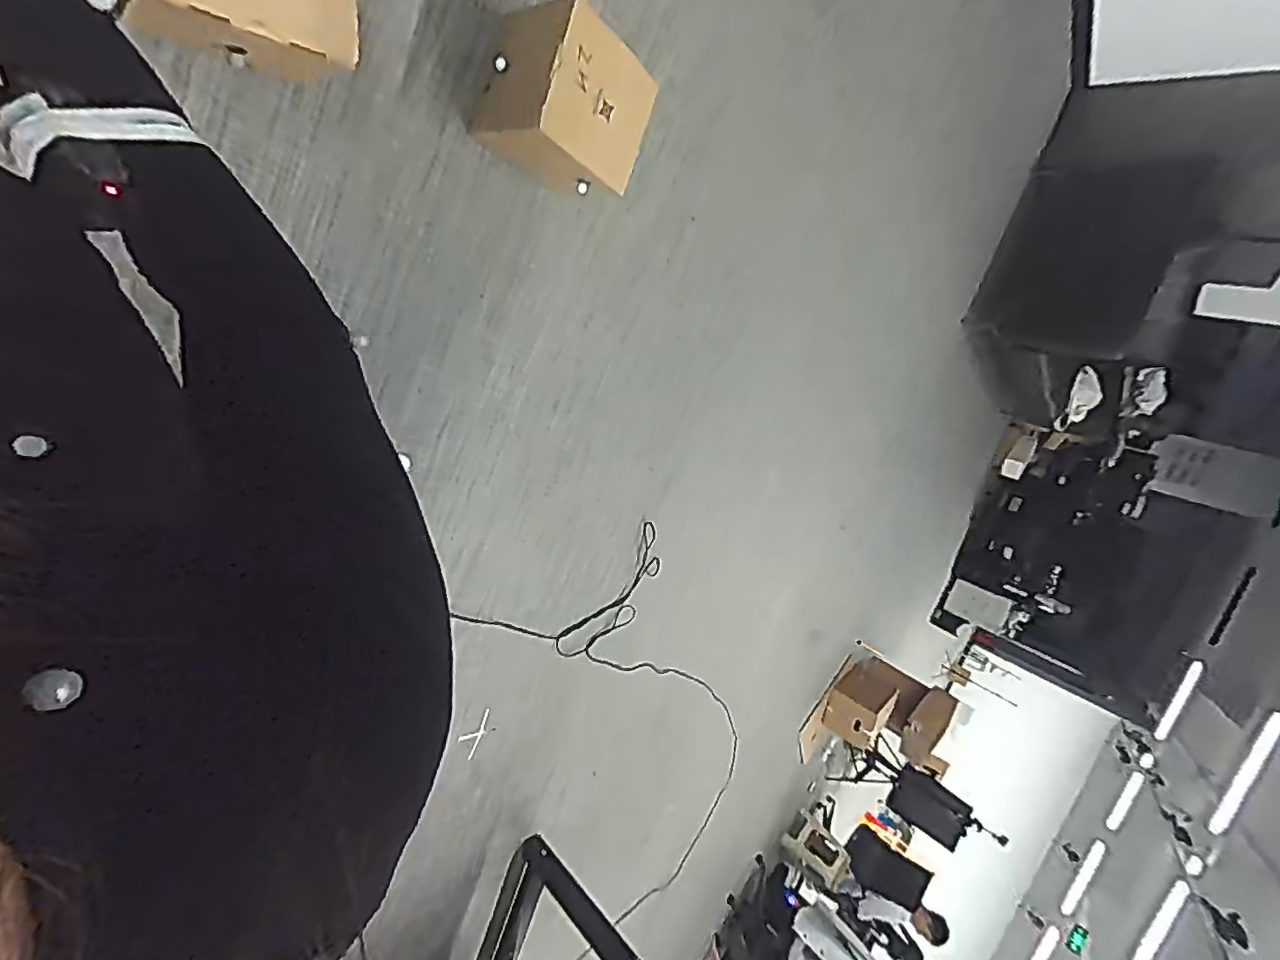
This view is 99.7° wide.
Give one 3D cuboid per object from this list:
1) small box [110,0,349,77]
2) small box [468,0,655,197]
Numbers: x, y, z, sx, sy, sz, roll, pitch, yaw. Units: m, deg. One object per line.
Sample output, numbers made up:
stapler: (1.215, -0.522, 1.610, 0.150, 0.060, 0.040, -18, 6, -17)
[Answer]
small box: (-0.384, -0.502, 0.496, 0.168, 0.176, 0.179, -12, 120, -46)
small box: (-0.114, -0.540, 0.787, 0.179, 0.176, 0.168, 10, 102, -52)
